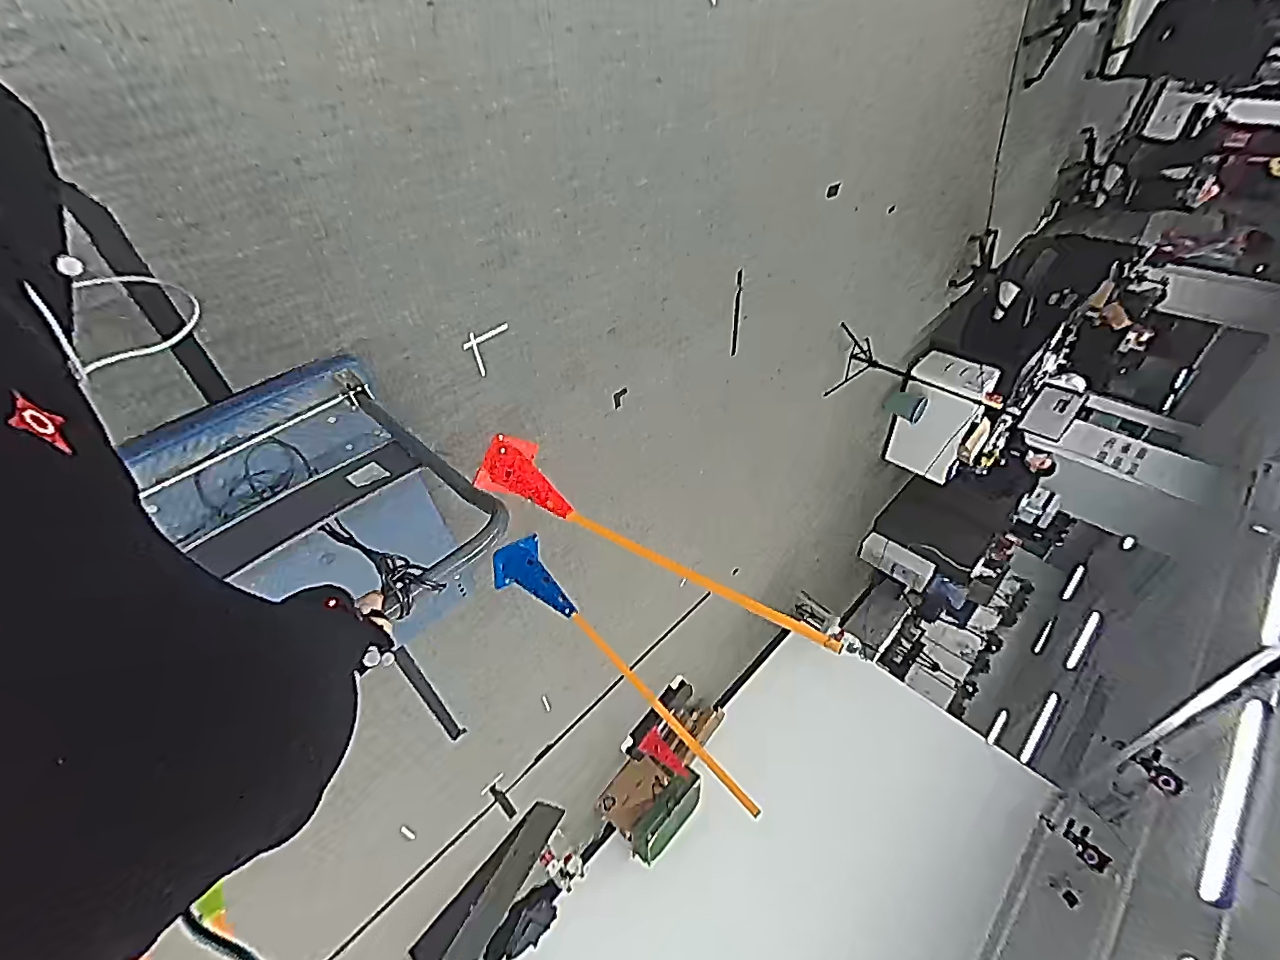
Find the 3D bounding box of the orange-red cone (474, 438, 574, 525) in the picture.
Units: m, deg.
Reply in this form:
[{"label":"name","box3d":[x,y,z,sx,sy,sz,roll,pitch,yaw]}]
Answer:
[{"label":"orange-red cone","box3d":[-0.333,0.042,1.731,0.198,0.360,0.199,17,104,-55]}]

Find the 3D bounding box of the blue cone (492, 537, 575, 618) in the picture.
[{"label":"blue cone","box3d":[-0.370,0.396,1.995,0.193,0.380,0.192,-23,133,-40]}]
